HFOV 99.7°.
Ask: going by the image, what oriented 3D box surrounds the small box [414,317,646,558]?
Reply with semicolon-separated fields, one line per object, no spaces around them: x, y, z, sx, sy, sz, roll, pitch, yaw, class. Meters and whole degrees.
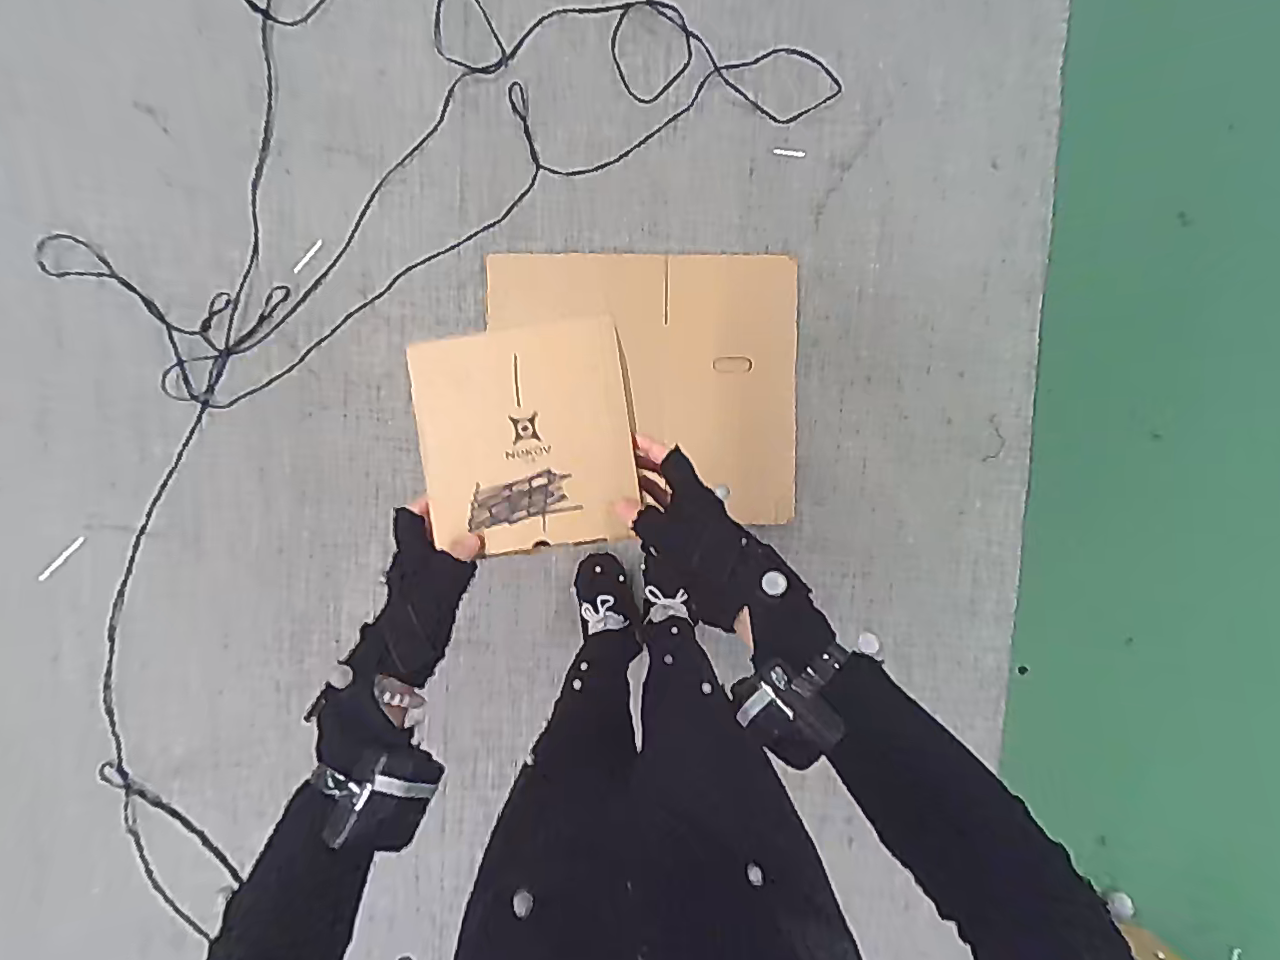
-0.086;-0.034;0.508;0.168;0.176;0.179;-8;89;2;small box
